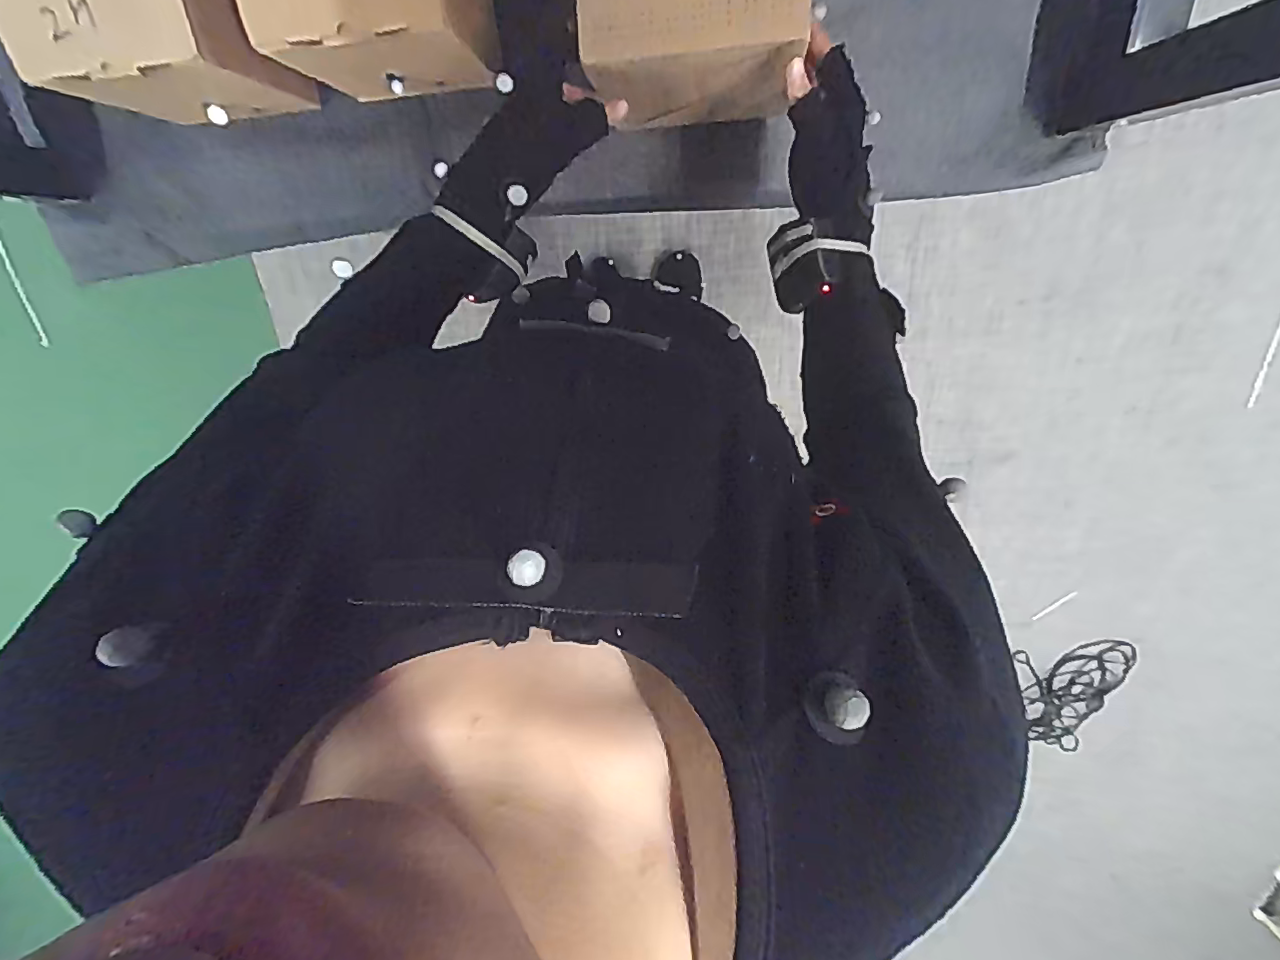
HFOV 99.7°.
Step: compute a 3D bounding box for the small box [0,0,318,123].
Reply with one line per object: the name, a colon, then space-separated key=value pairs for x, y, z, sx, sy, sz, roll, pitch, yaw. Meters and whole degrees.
small box: x=-0.437 y=-0.451 z=0.490 sx=0.168 sy=0.176 sz=0.179 roll=-4 pitch=113 yaw=4
